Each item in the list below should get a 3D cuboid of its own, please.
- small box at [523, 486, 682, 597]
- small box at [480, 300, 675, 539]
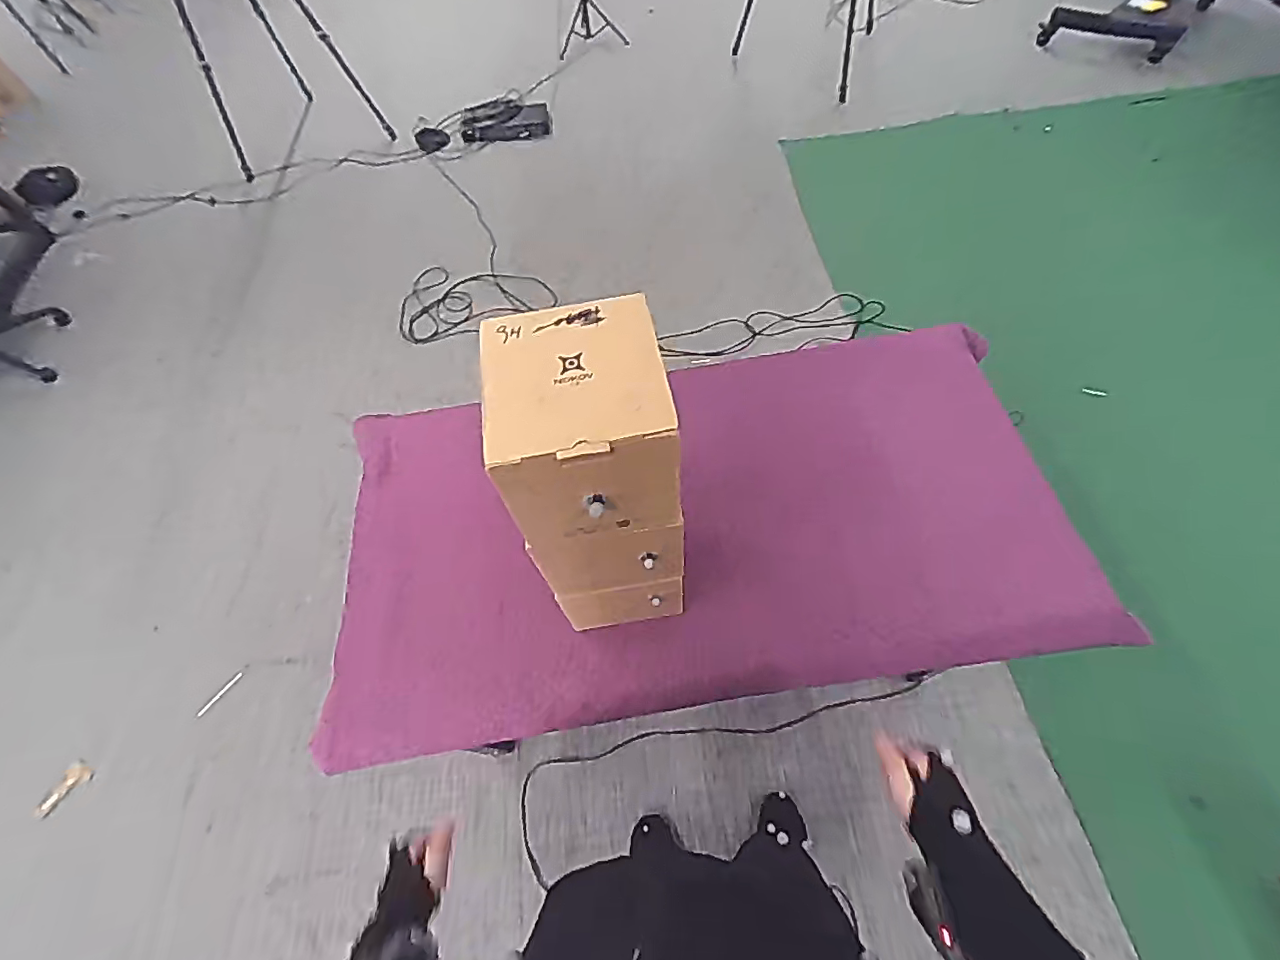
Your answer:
[{"bbox_3d":[-0.046,0.037,0.694,0.179,0.176,0.168,-9,59,-1],"label":"small box"},{"bbox_3d":[-0.058,-0.051,0.558,0.168,0.176,0.179,-9,59,-2],"label":"small box"}]
